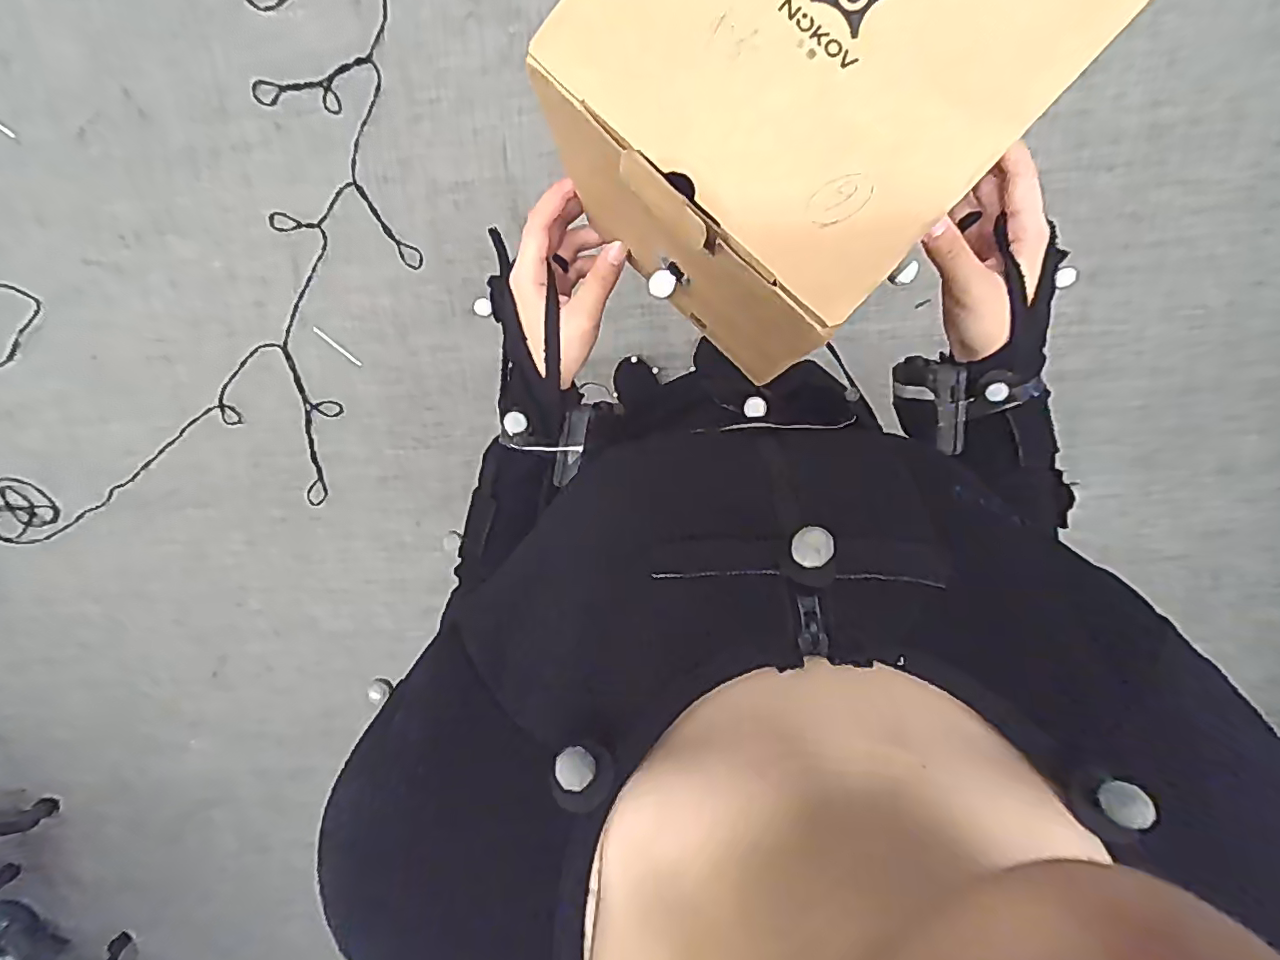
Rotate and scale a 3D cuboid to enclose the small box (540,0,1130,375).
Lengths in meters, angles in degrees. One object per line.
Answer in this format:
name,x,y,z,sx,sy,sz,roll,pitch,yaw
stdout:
small box,0.080,-0.178,0.296,0.168,0.176,0.179,43,96,1
